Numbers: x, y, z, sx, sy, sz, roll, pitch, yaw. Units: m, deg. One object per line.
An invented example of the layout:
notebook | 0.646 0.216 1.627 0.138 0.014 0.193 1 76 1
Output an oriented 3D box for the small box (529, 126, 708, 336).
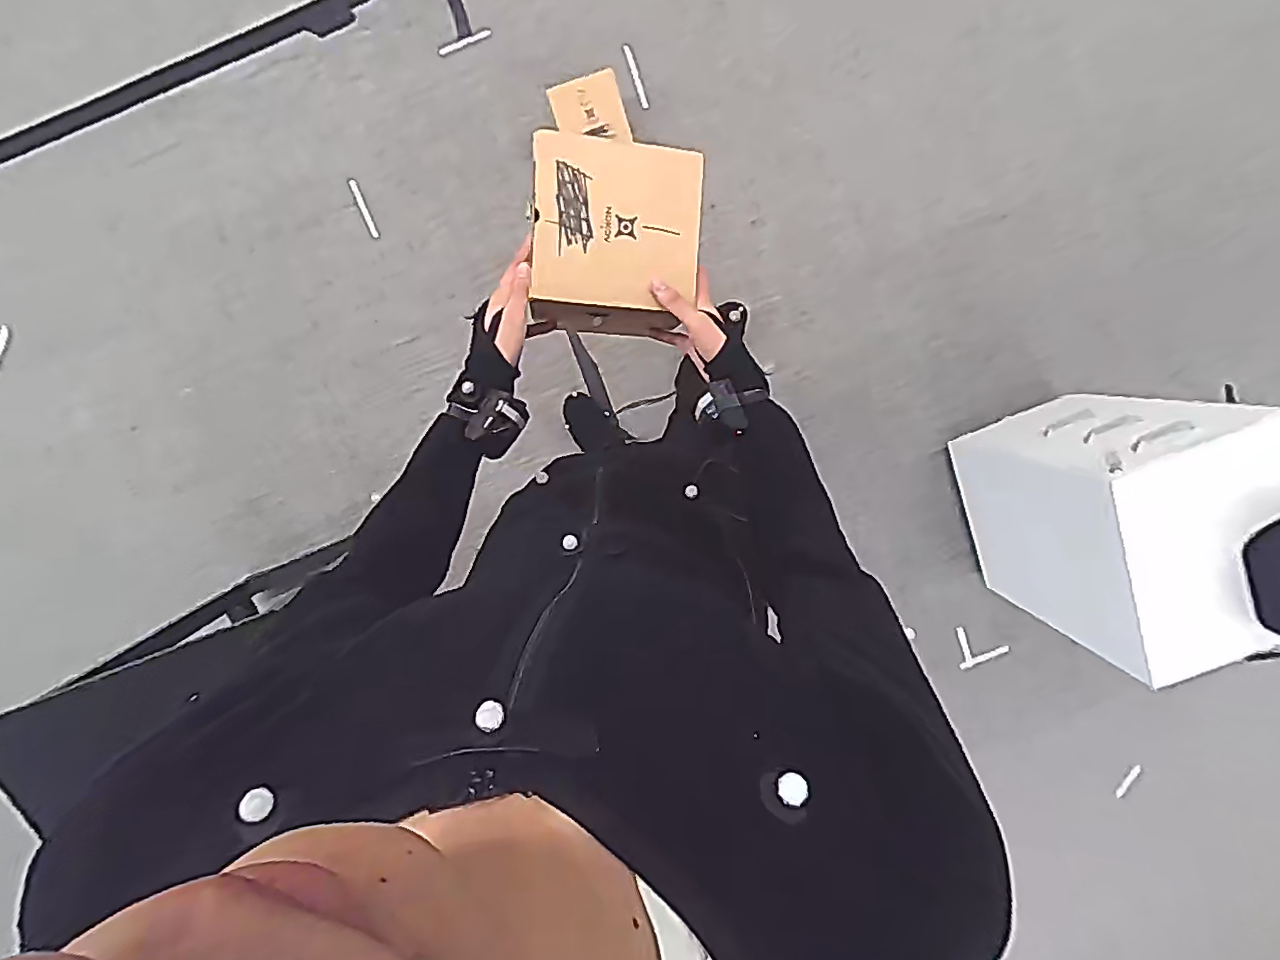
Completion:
small box | -0.034 -0.267 0.623 0.179 0.176 0.168 2 95 -11
